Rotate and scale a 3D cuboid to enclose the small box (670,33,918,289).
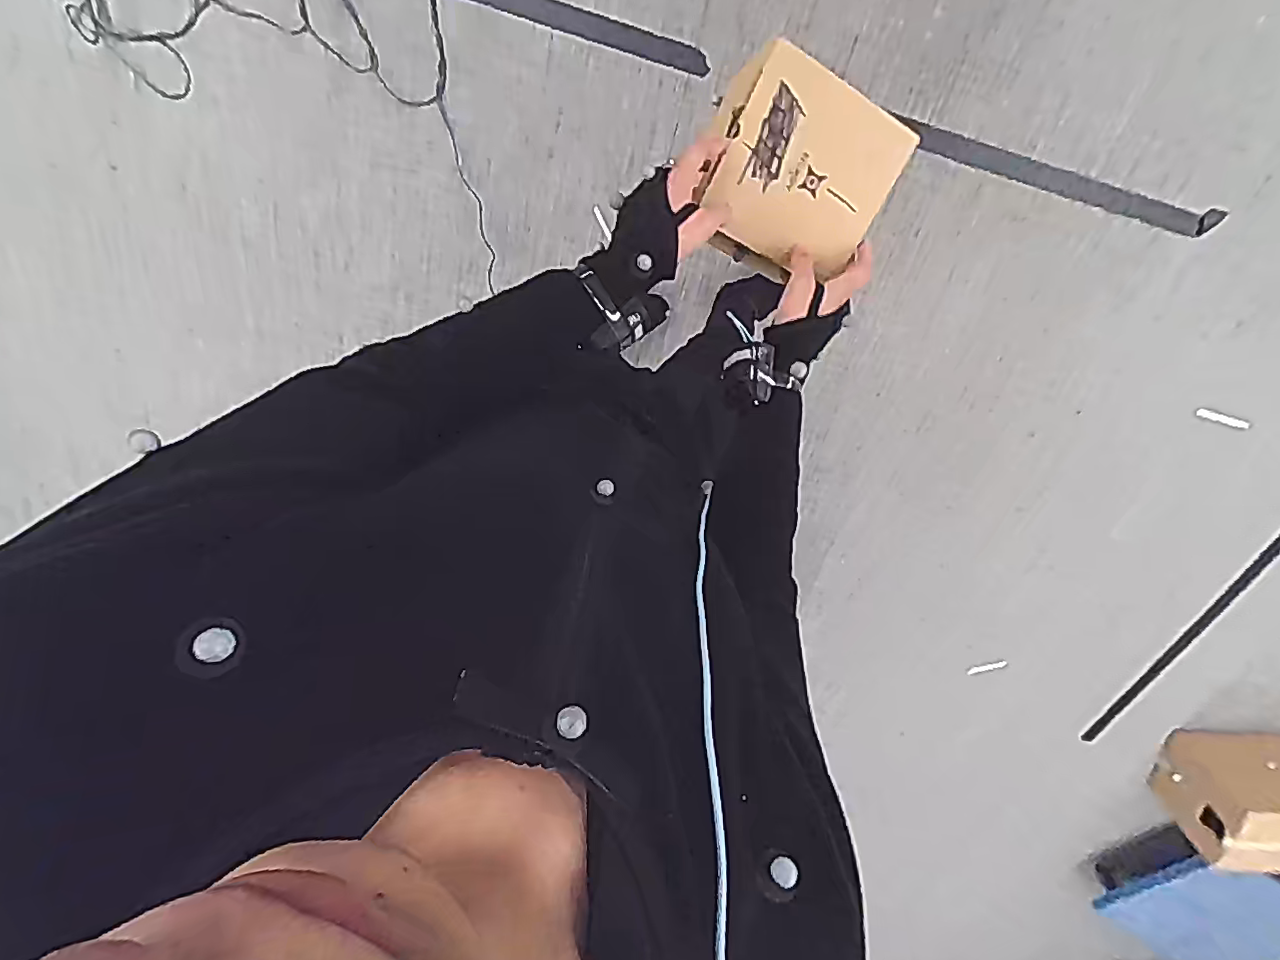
[{"bbox_3d":[0.151,-0.333,0.601,0.179,0.176,0.168,21,110,-17],"label":"small box"}]
